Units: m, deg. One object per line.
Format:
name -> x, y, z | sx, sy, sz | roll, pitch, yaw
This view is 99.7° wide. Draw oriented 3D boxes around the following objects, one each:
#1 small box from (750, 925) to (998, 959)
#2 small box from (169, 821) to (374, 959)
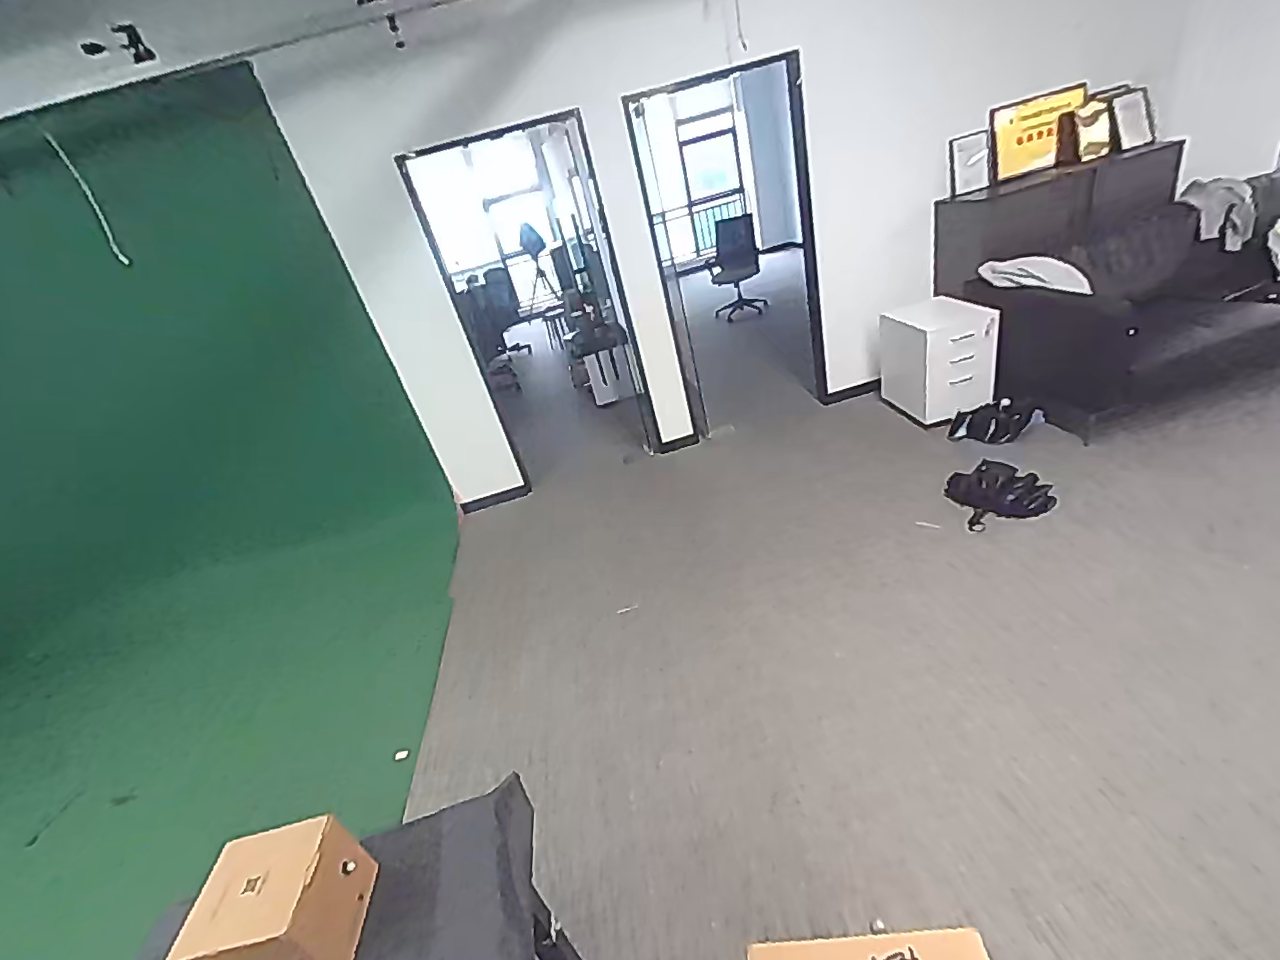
small box -> 0.177, 0.436, 0.362 | 0.168, 0.176, 0.179 | -11, 35, 8
small box -> -0.539, 0.666, 0.819 | 0.179, 0.176, 0.168 | -17, 25, 0
